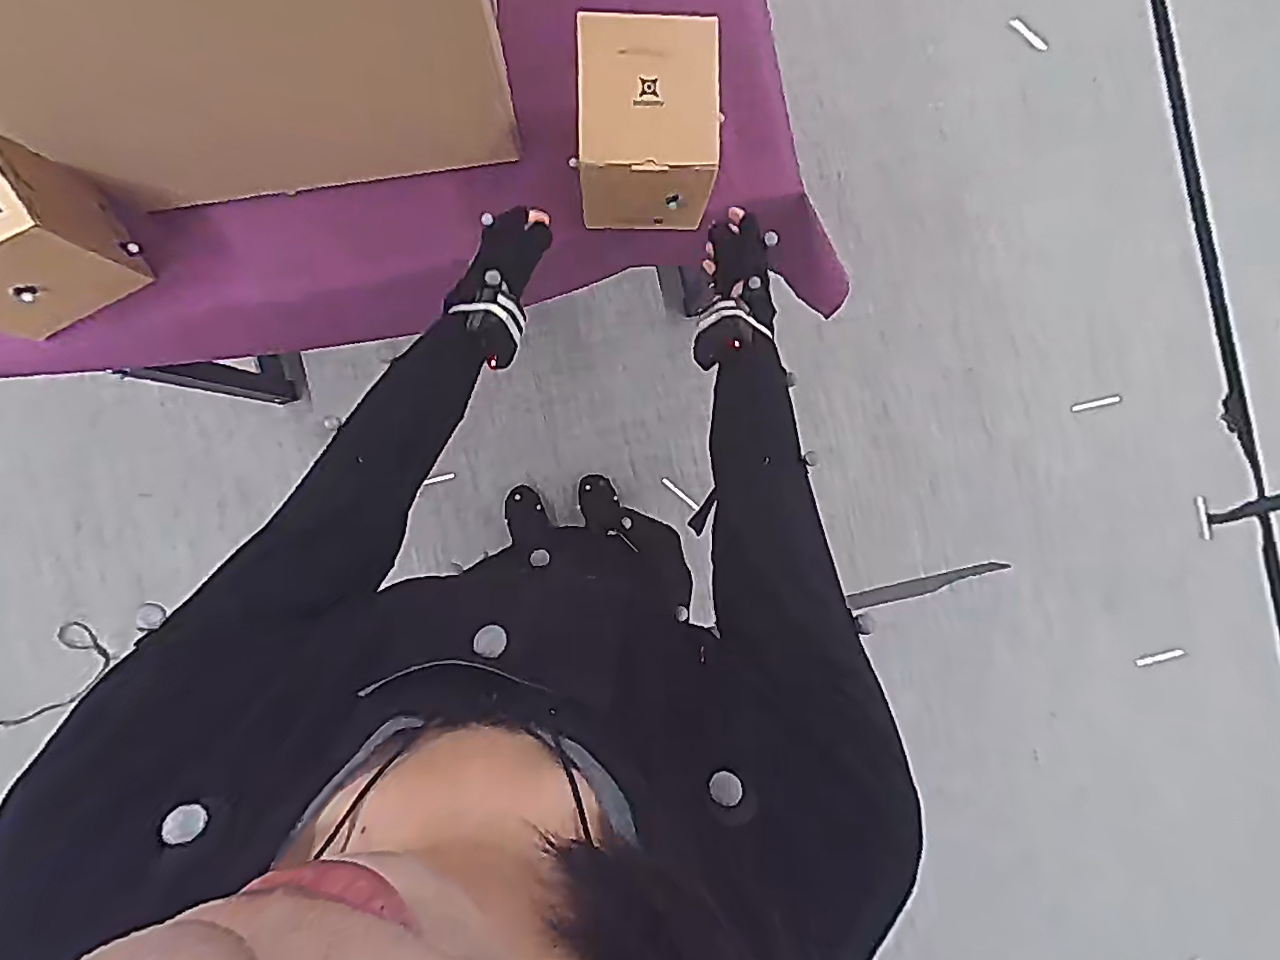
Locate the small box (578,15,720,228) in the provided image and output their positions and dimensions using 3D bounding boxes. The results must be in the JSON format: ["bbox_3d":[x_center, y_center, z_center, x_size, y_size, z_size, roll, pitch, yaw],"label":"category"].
[{"bbox_3d":[0.007,-0.449,0.705,0.168,0.176,0.179,-1,90,-4],"label":"small box"}]
